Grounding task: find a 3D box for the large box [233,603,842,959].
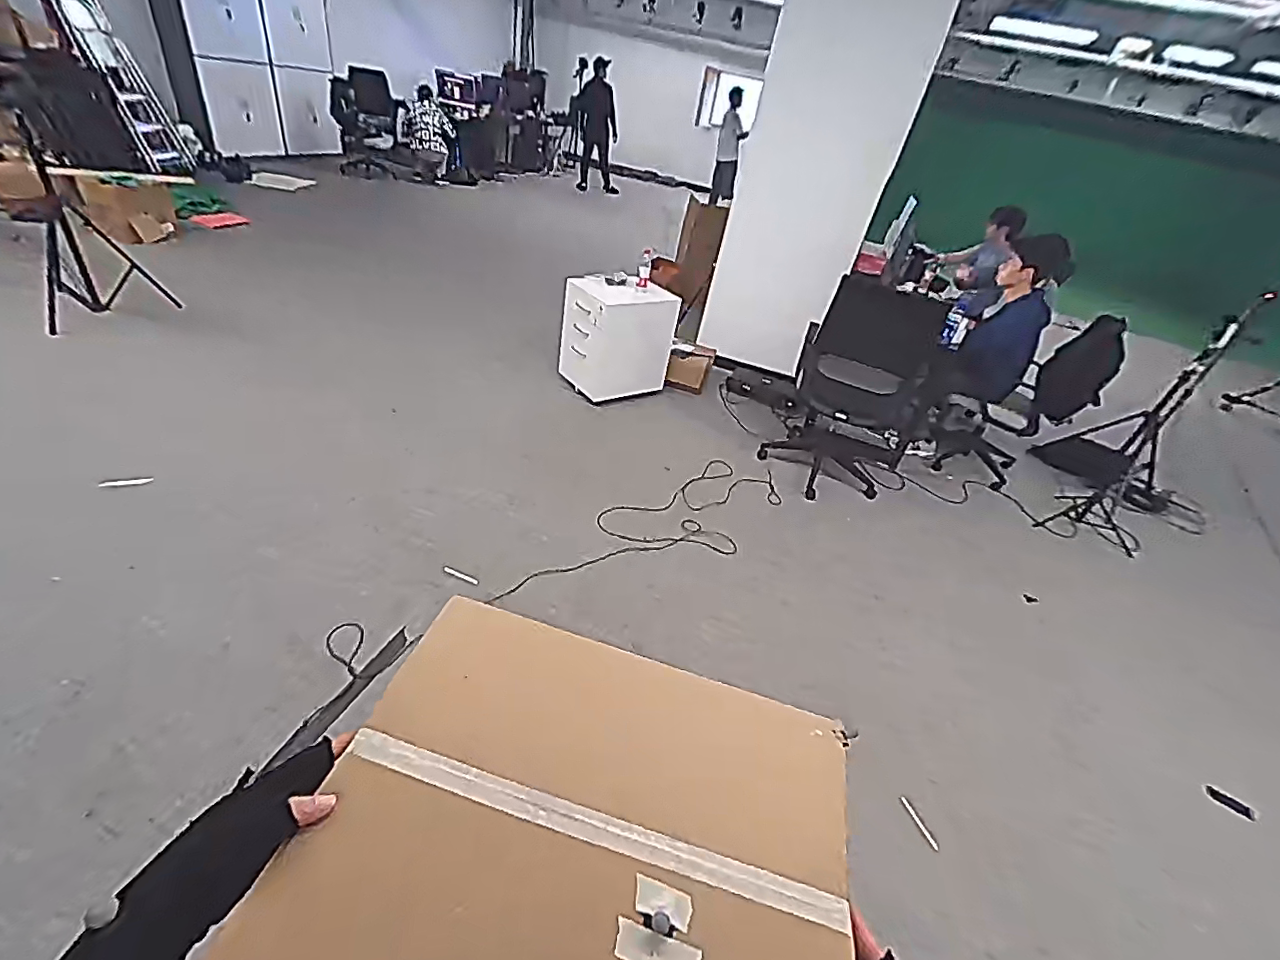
[{"bbox_3d":[-0.059,0.384,0.530,0.408,0.320,0.320,17,41,6],"label":"large box"}]
